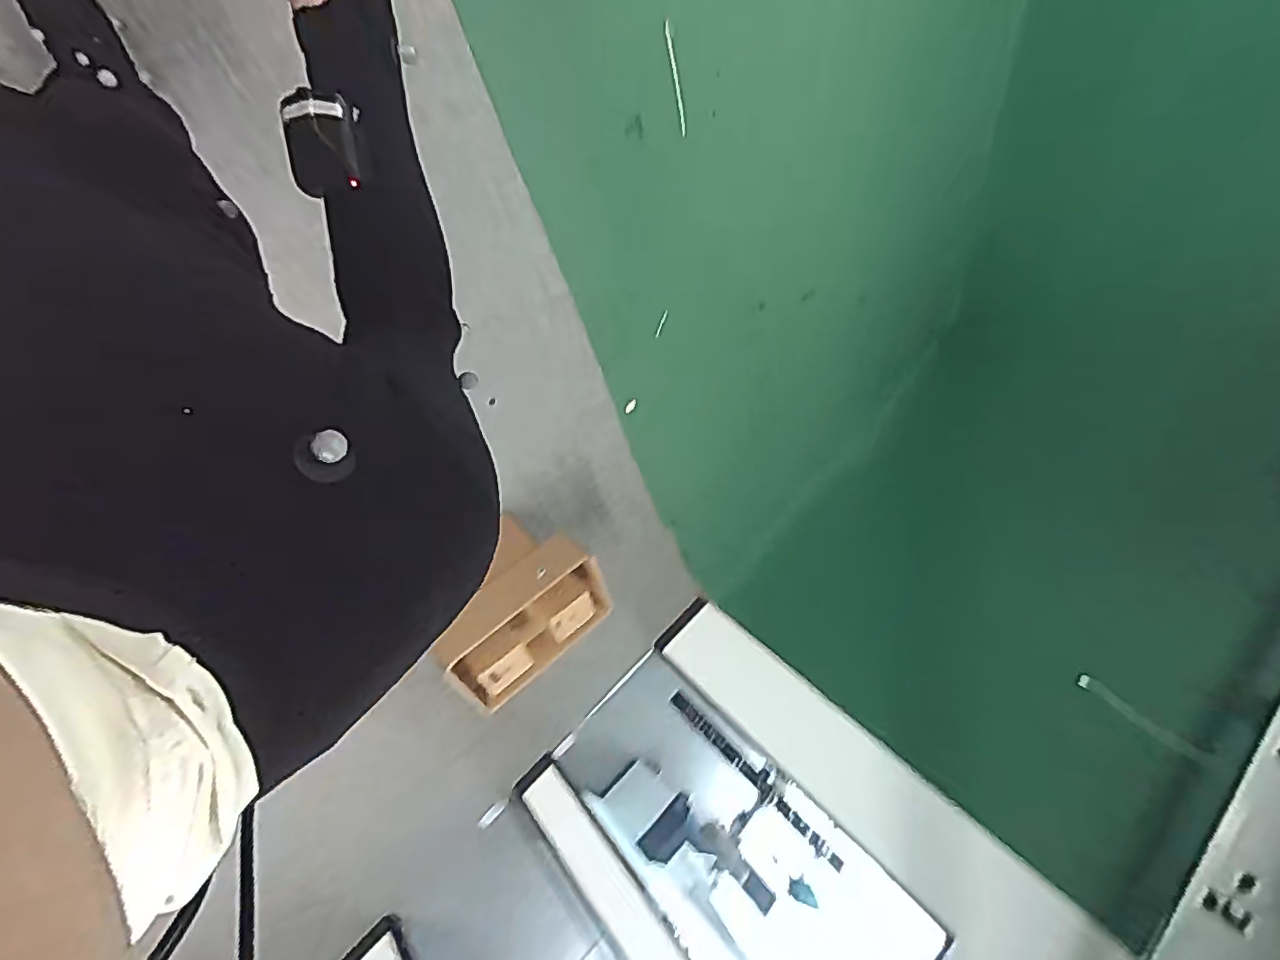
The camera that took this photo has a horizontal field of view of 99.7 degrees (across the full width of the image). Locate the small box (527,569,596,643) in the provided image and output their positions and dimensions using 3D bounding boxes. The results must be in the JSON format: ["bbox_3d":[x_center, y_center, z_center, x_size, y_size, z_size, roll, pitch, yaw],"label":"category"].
[{"bbox_3d":[-0.296,0.469,2.039,0.179,0.176,0.168,-36,140,-24],"label":"small box"}]
